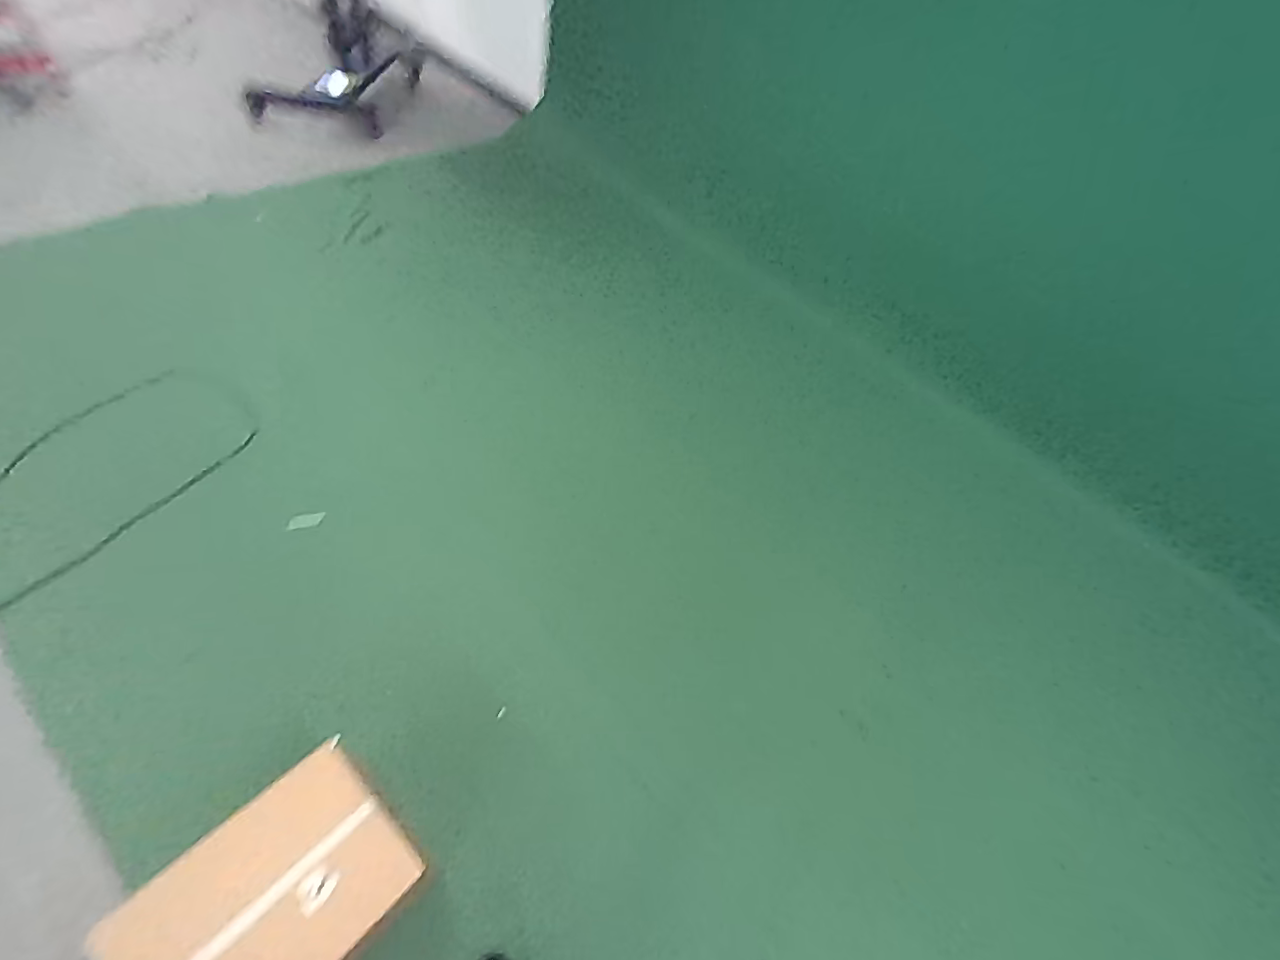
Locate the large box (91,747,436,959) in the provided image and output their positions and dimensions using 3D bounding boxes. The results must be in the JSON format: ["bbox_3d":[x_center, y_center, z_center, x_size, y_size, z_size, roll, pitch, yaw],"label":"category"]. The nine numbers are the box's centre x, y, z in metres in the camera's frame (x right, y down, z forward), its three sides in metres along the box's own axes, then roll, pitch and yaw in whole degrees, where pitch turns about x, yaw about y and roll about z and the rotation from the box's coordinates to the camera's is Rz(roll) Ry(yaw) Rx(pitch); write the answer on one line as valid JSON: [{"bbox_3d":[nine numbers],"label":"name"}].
[{"bbox_3d":[-0.665,0.814,1.036,0.320,0.320,0.408,41,54,17],"label":"large box"}]
